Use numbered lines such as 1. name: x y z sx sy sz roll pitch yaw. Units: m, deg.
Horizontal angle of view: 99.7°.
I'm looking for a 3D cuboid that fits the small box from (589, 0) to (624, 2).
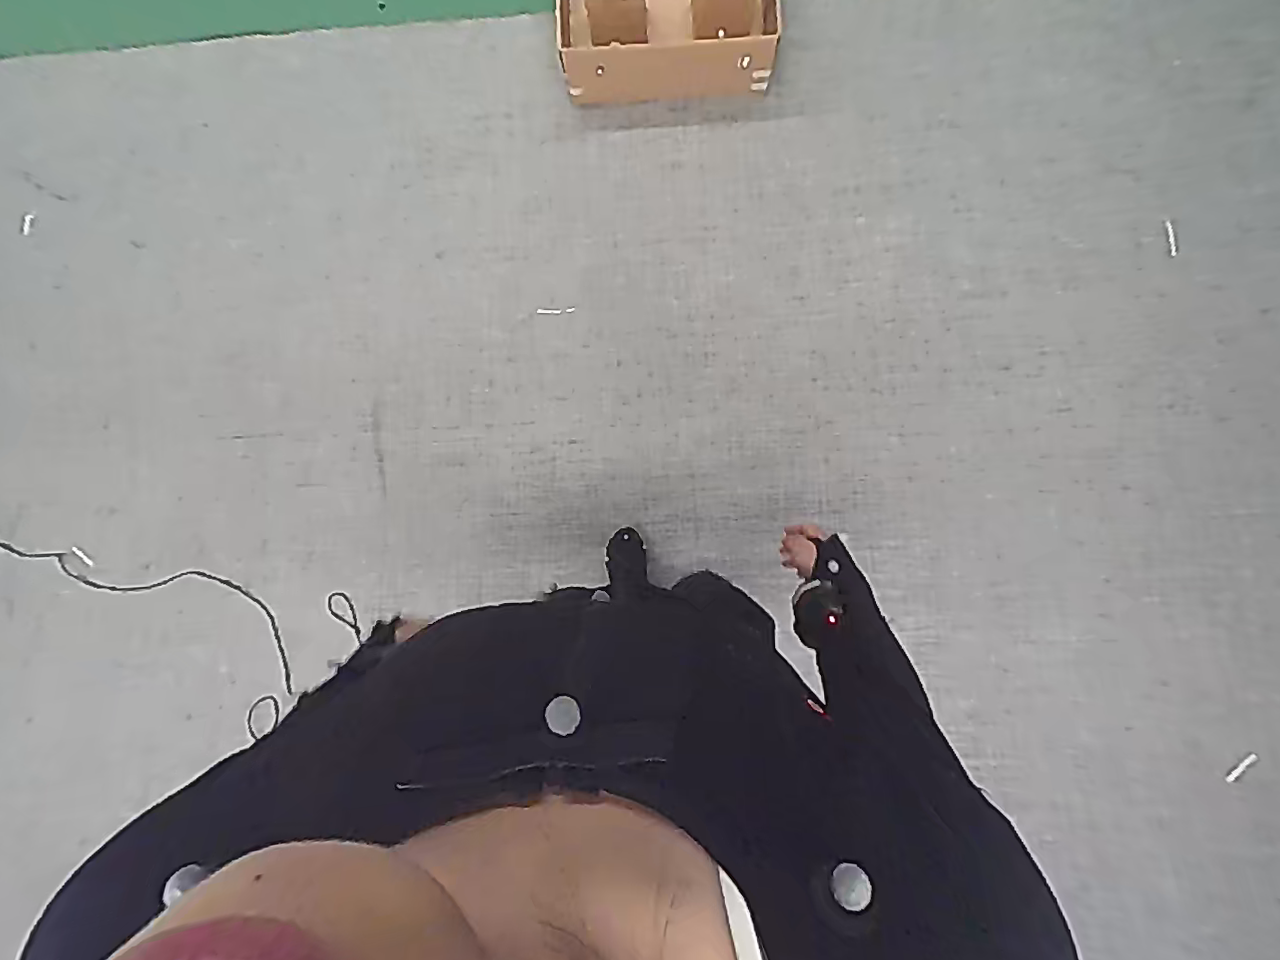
1. small box: -0.082 -1.373 1.381 0.168 0.176 0.179 -5 85 2
